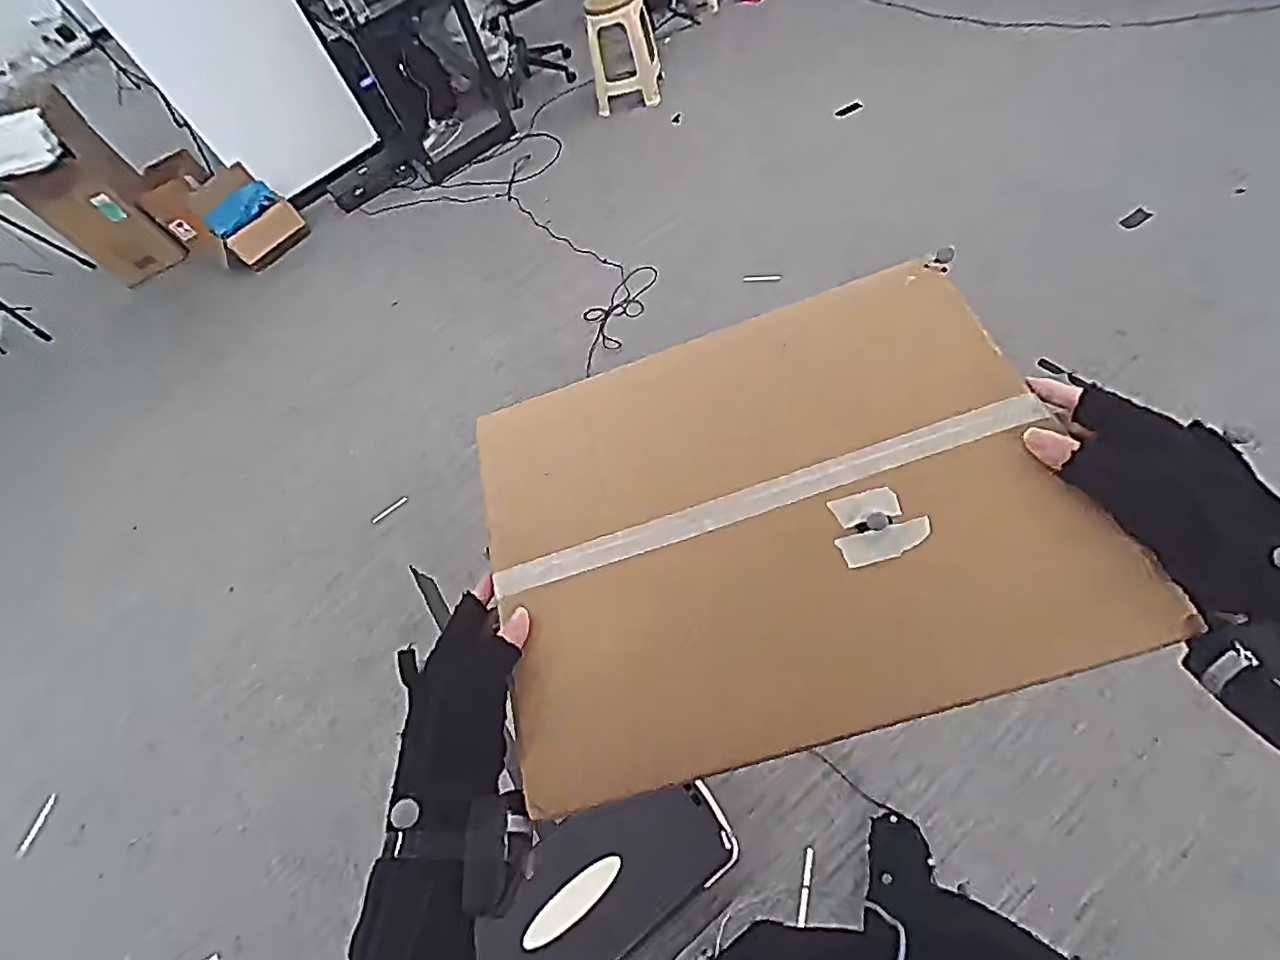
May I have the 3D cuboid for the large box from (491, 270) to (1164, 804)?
[{"bbox_3d":[0.121,0.078,0.535,0.408,0.320,0.320,-19,63,5],"label":"large box"}]
